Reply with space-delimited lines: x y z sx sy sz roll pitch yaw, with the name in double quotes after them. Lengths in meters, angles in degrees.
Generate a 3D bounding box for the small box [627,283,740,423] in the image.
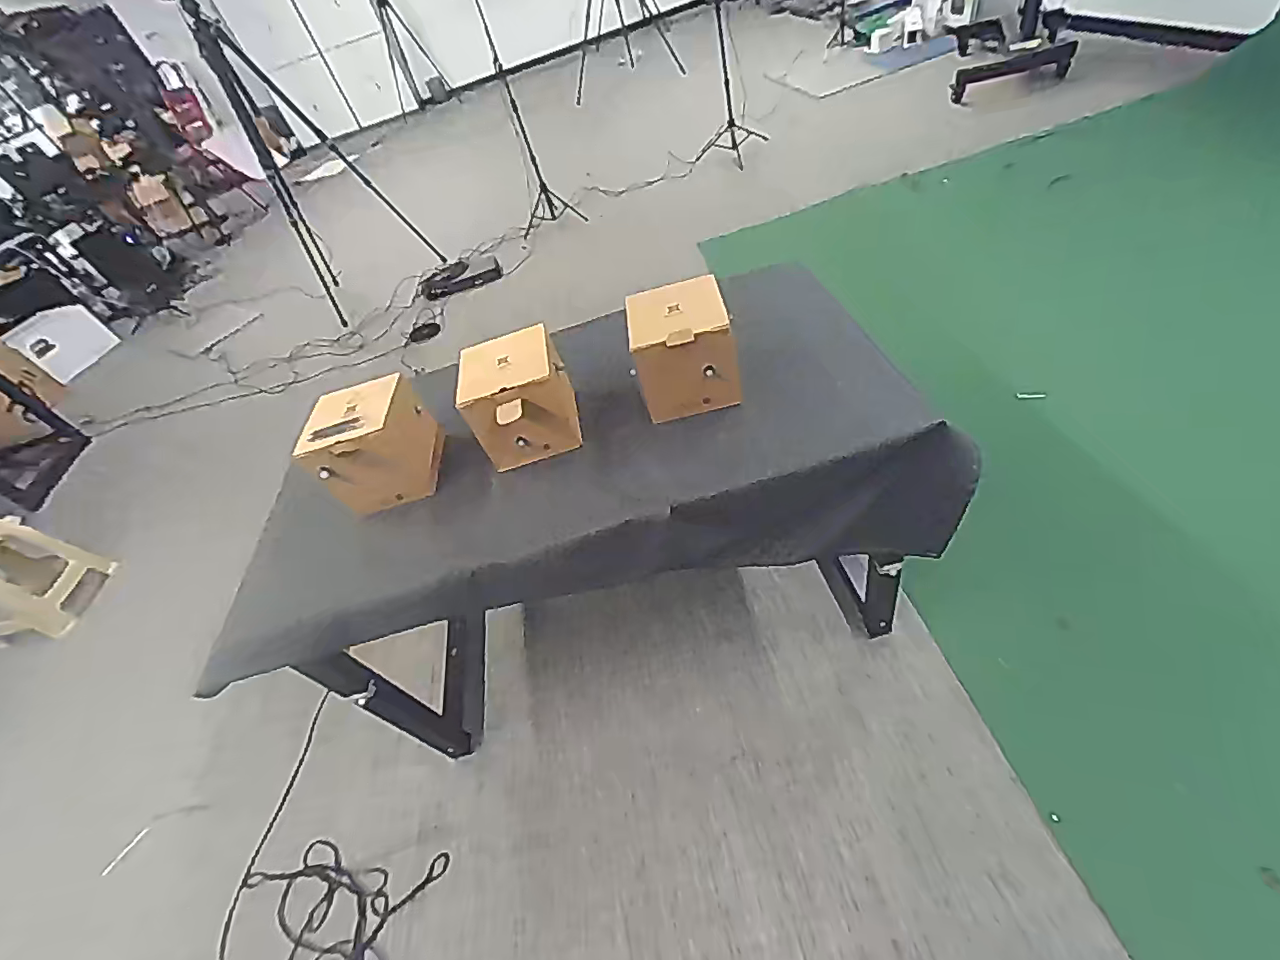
0.079 -0.220 0.973 0.168 0.176 0.179 -12 45 7 "small box"

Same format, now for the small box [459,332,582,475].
-0.216 -0.139 1.001 0.168 0.176 0.179 -17 46 3 "small box"
